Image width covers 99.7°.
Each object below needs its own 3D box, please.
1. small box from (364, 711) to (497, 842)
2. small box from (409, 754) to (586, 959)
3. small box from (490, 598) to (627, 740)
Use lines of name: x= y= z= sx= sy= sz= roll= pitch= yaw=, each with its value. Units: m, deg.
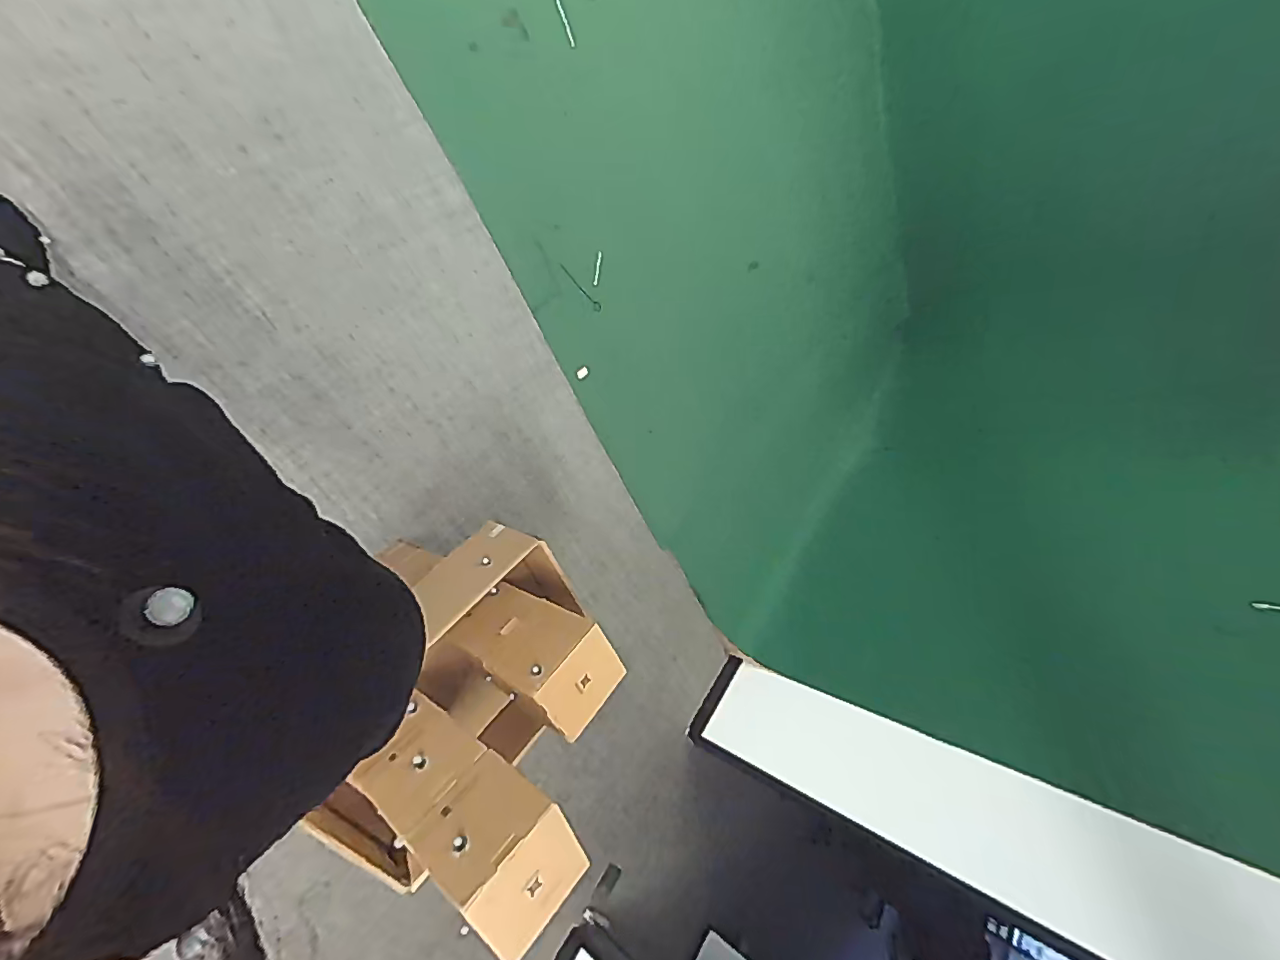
small box: x=-0.334 y=0.527 z=0.925 sx=0.168 sy=0.176 sz=0.179 roll=-39 pitch=124 yaw=-35
small box: x=-0.214 y=0.552 z=0.816 sx=0.168 sy=0.176 sz=0.179 roll=-37 pitch=125 yaw=-36
small box: x=-0.161 y=0.366 z=1.076 sx=0.179 sy=0.176 sz=0.168 roll=-44 pitch=128 yaw=-29
